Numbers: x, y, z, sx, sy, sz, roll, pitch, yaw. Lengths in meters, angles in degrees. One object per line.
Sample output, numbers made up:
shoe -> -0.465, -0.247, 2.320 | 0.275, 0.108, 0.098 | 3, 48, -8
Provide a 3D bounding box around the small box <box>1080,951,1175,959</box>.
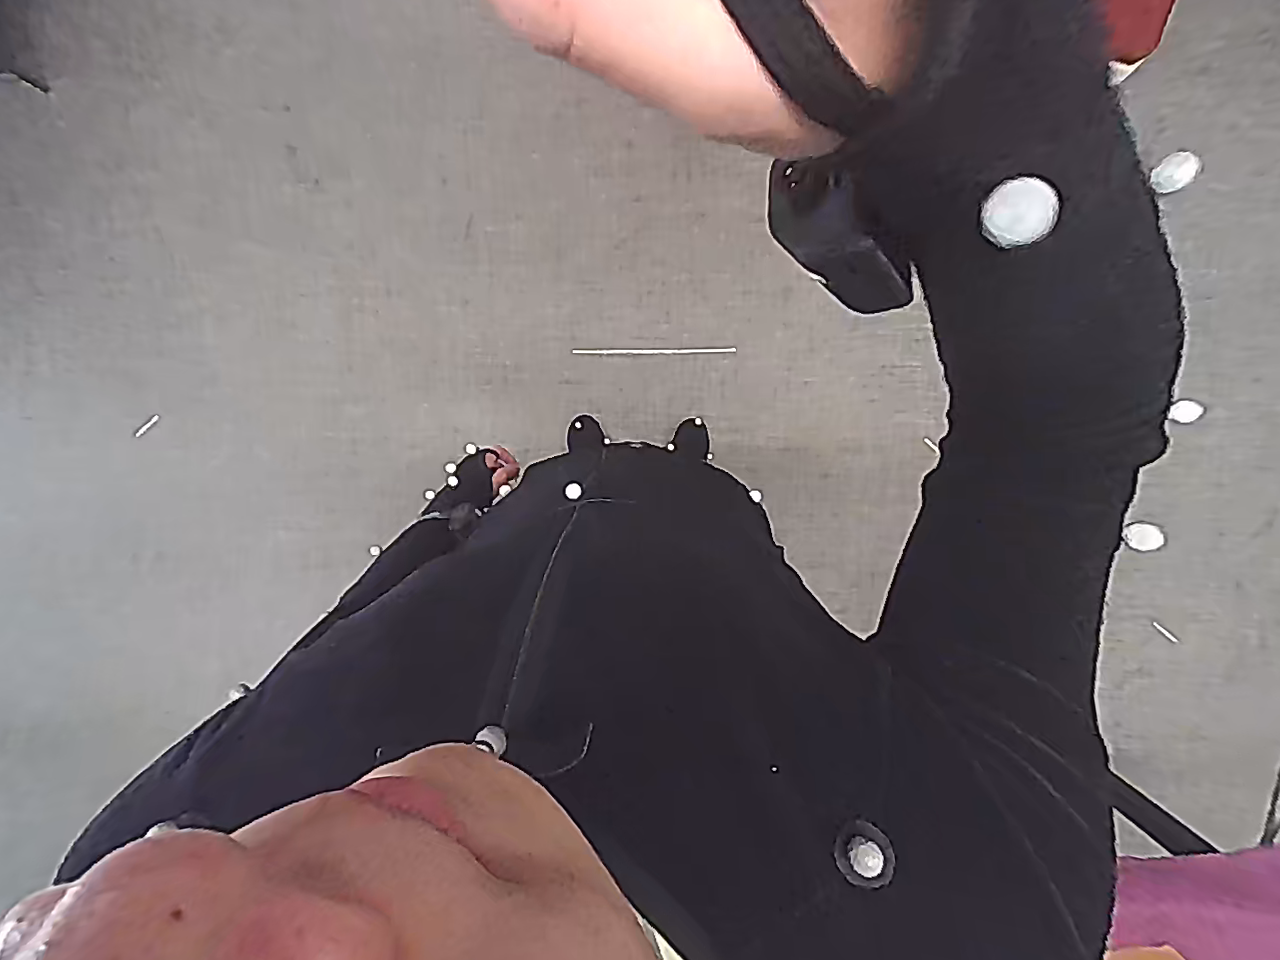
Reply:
small box -> 0.853, 0.919, 0.880 | 0.179, 0.176, 0.168 | -7, 94, 2
